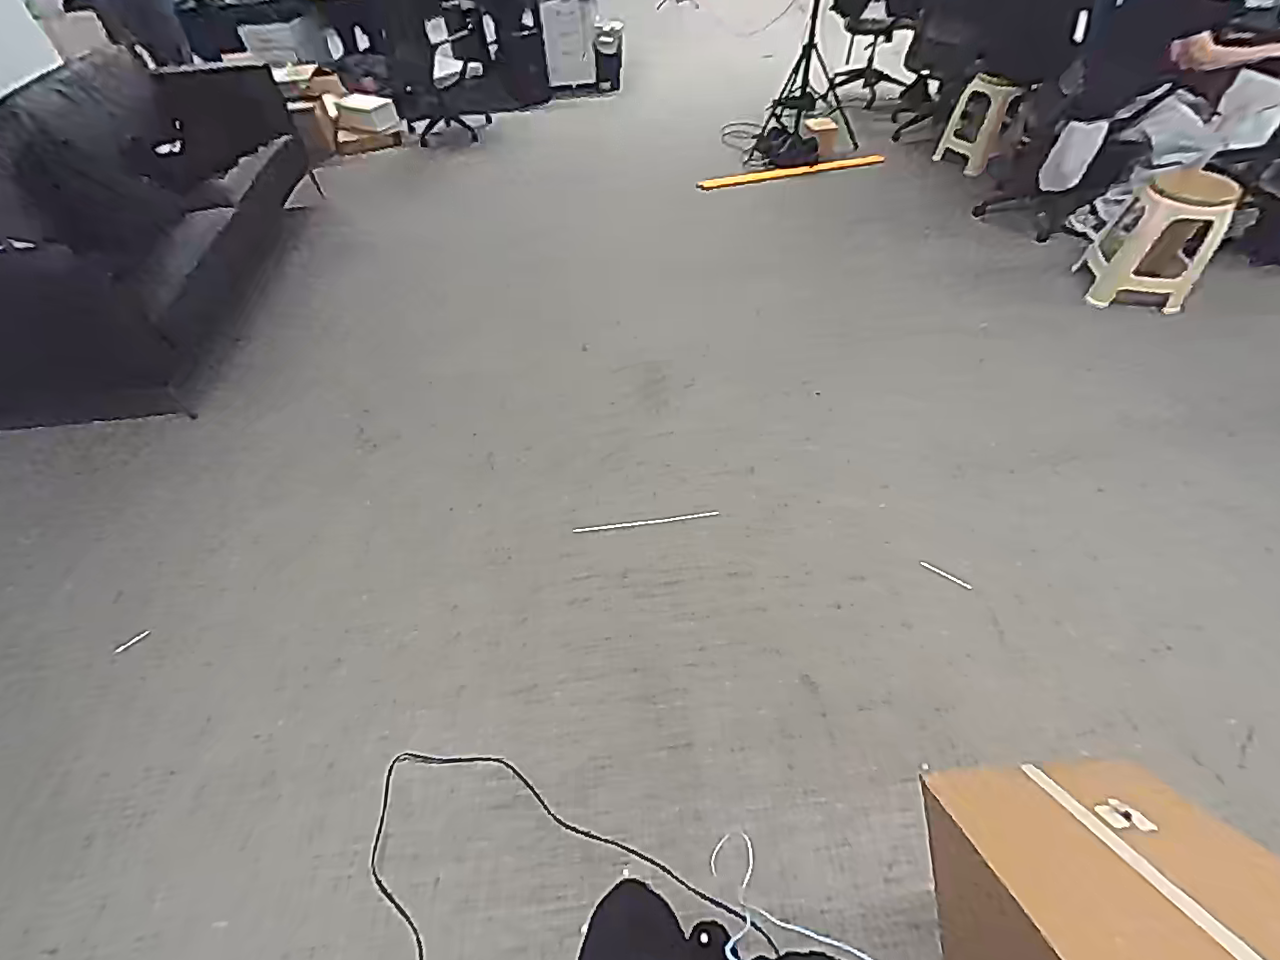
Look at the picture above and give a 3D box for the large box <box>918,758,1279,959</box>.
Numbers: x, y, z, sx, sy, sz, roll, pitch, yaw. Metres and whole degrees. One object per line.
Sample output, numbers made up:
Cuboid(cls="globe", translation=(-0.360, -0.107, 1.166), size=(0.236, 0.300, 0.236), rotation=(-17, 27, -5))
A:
Cuboid(cls="large box", translation=(0.601, 0.607, 0.656), size=(0.320, 0.408, 0.320), rotation=(-7, 91, 4))
